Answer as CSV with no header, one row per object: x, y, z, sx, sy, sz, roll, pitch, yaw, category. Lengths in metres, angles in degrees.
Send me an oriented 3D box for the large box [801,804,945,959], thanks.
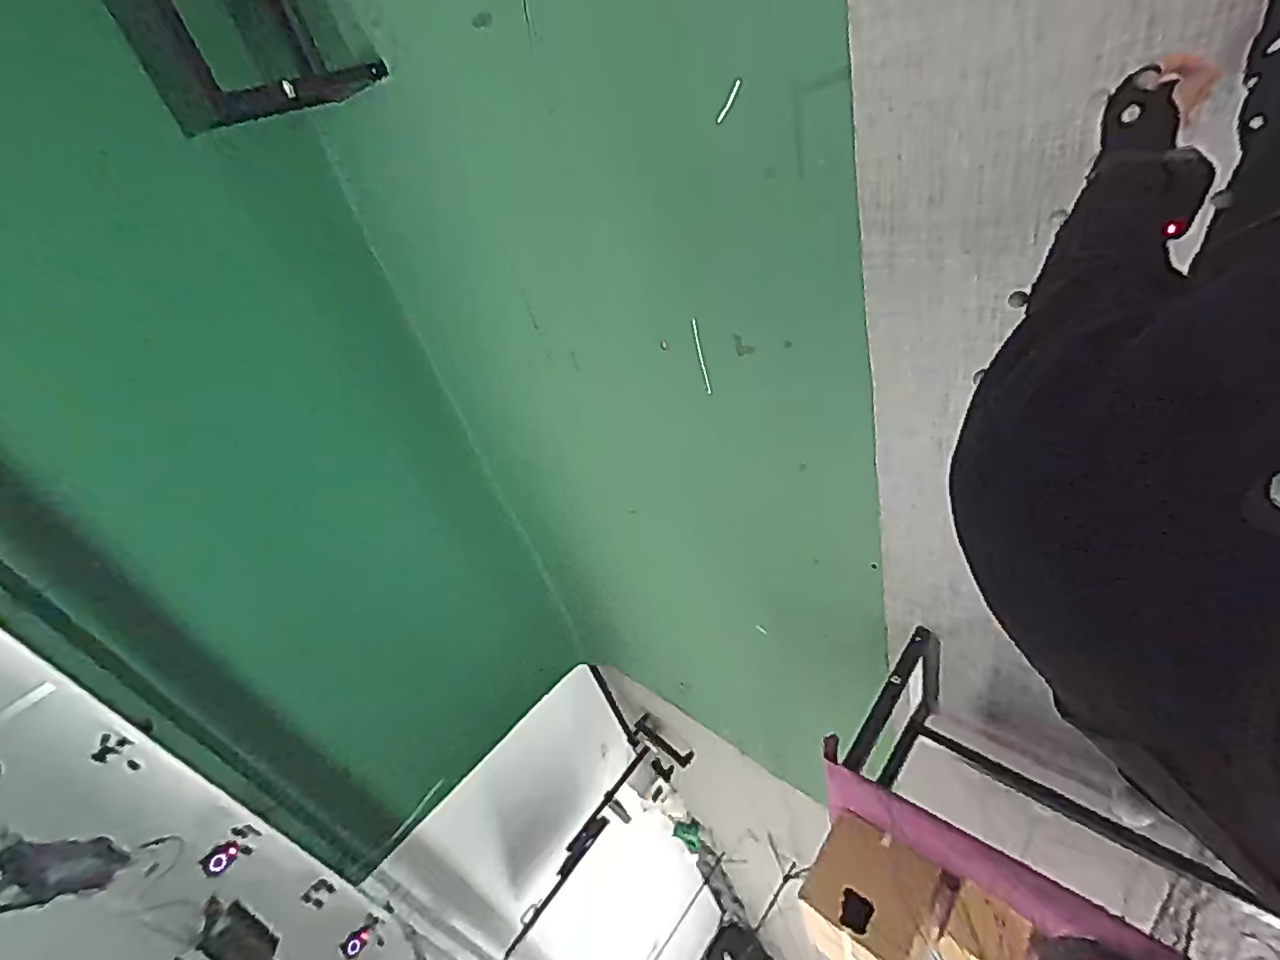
0.742,1.331,1.701,0.320,0.320,0.408,14,134,42,large box
